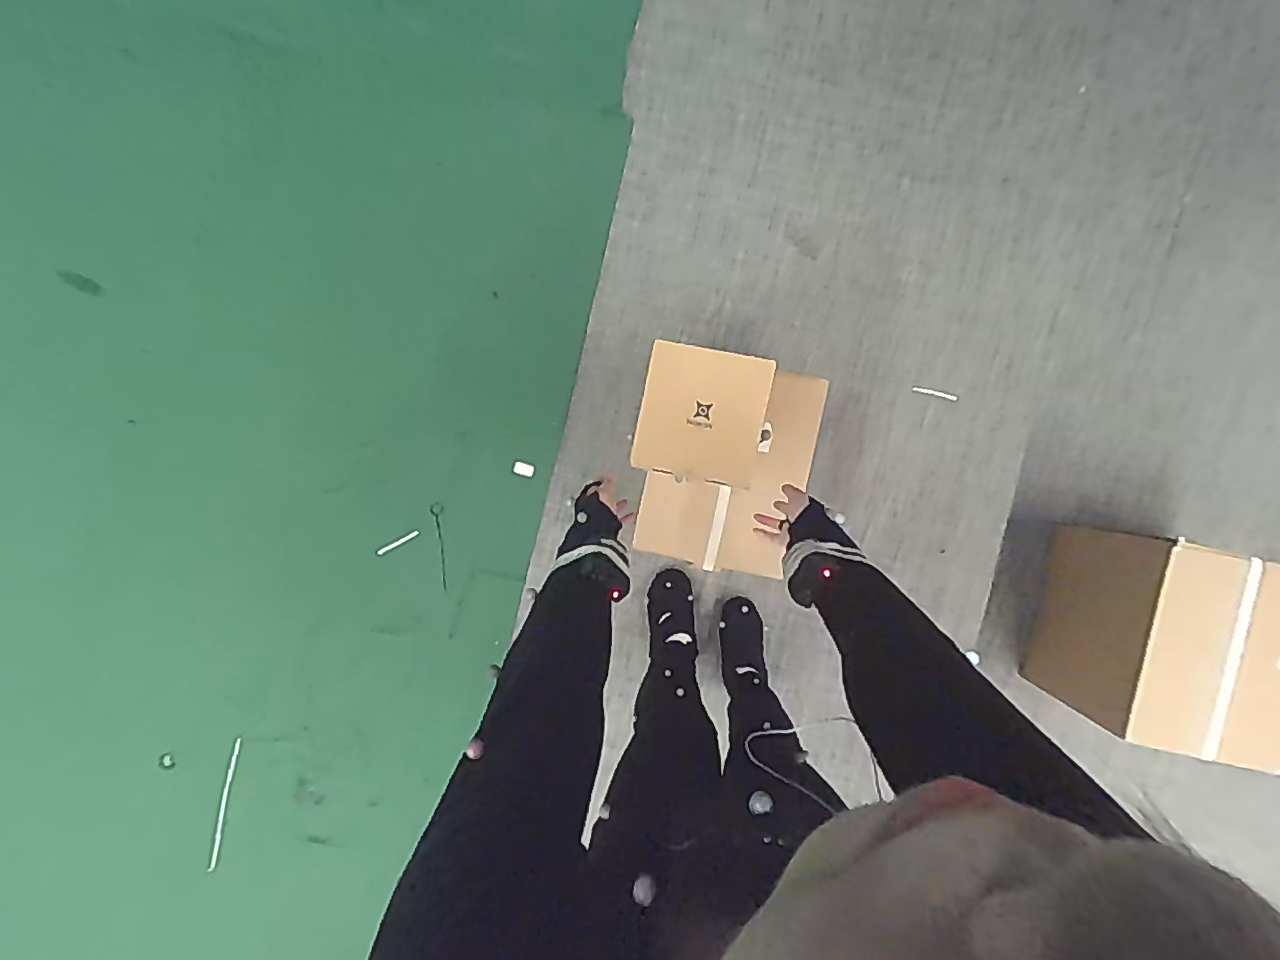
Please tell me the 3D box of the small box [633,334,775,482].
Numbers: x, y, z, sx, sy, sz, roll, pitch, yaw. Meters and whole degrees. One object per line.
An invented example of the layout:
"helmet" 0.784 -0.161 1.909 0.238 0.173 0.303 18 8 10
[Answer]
"small box" 0.091 -0.101 0.809 0.168 0.176 0.179 12 94 5

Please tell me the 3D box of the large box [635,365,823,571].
"large box" 0.183 -0.043 1.215 0.320 0.320 0.408 12 92 2
